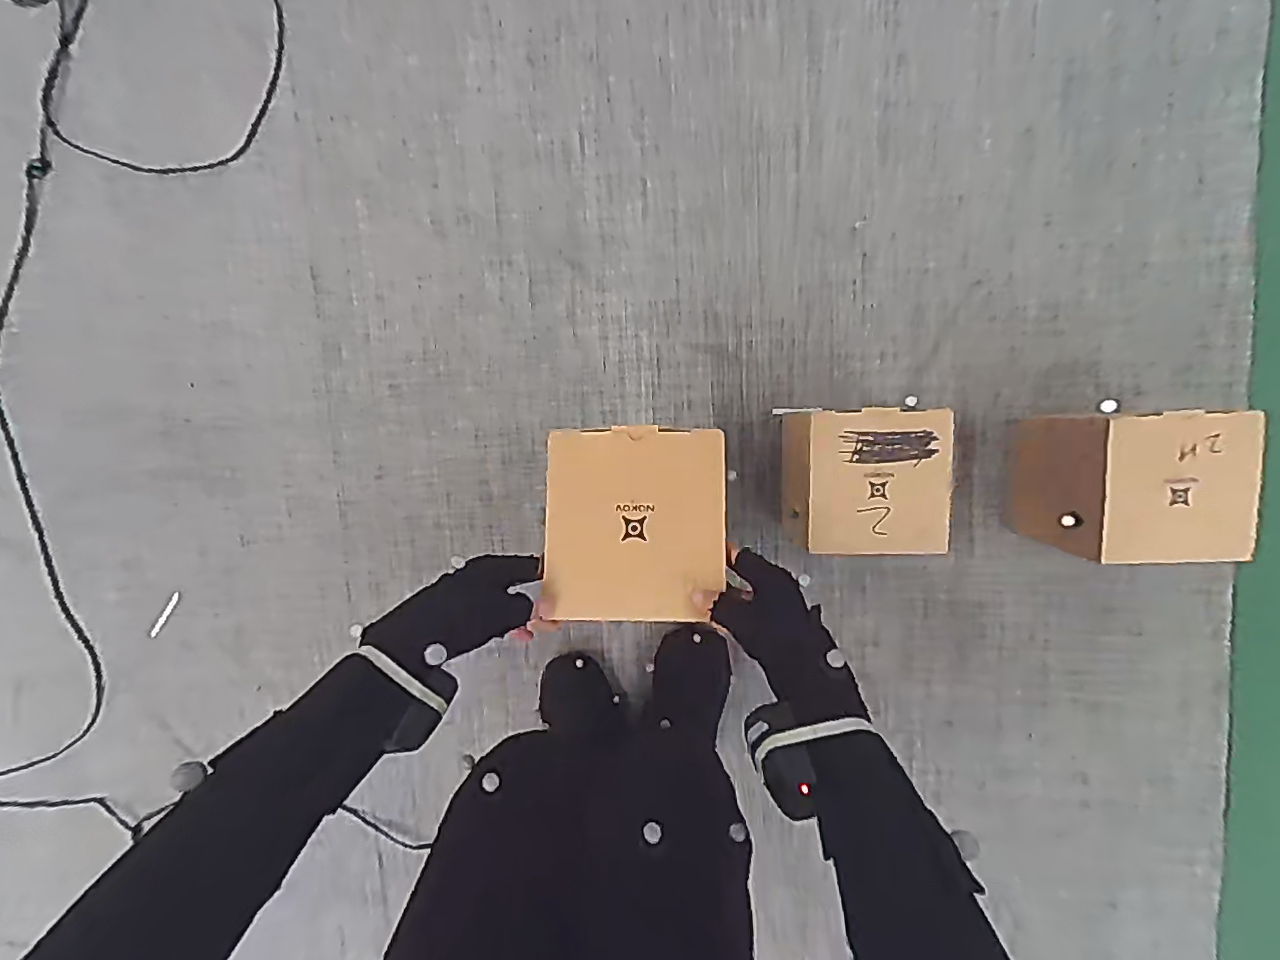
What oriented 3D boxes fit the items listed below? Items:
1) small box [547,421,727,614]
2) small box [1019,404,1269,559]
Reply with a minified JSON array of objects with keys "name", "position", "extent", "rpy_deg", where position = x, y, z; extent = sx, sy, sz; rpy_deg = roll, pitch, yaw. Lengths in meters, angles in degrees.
[{"name":"small box","position":[0.002,0.041,0.570],"extent":[0.168,0.176,0.179],"rpy_deg":[-1,83,2]},{"name":"small box","position":[0.620,-0.006,0.691],"extent":[0.168,0.176,0.179],"rpy_deg":[-2,96,4]}]
